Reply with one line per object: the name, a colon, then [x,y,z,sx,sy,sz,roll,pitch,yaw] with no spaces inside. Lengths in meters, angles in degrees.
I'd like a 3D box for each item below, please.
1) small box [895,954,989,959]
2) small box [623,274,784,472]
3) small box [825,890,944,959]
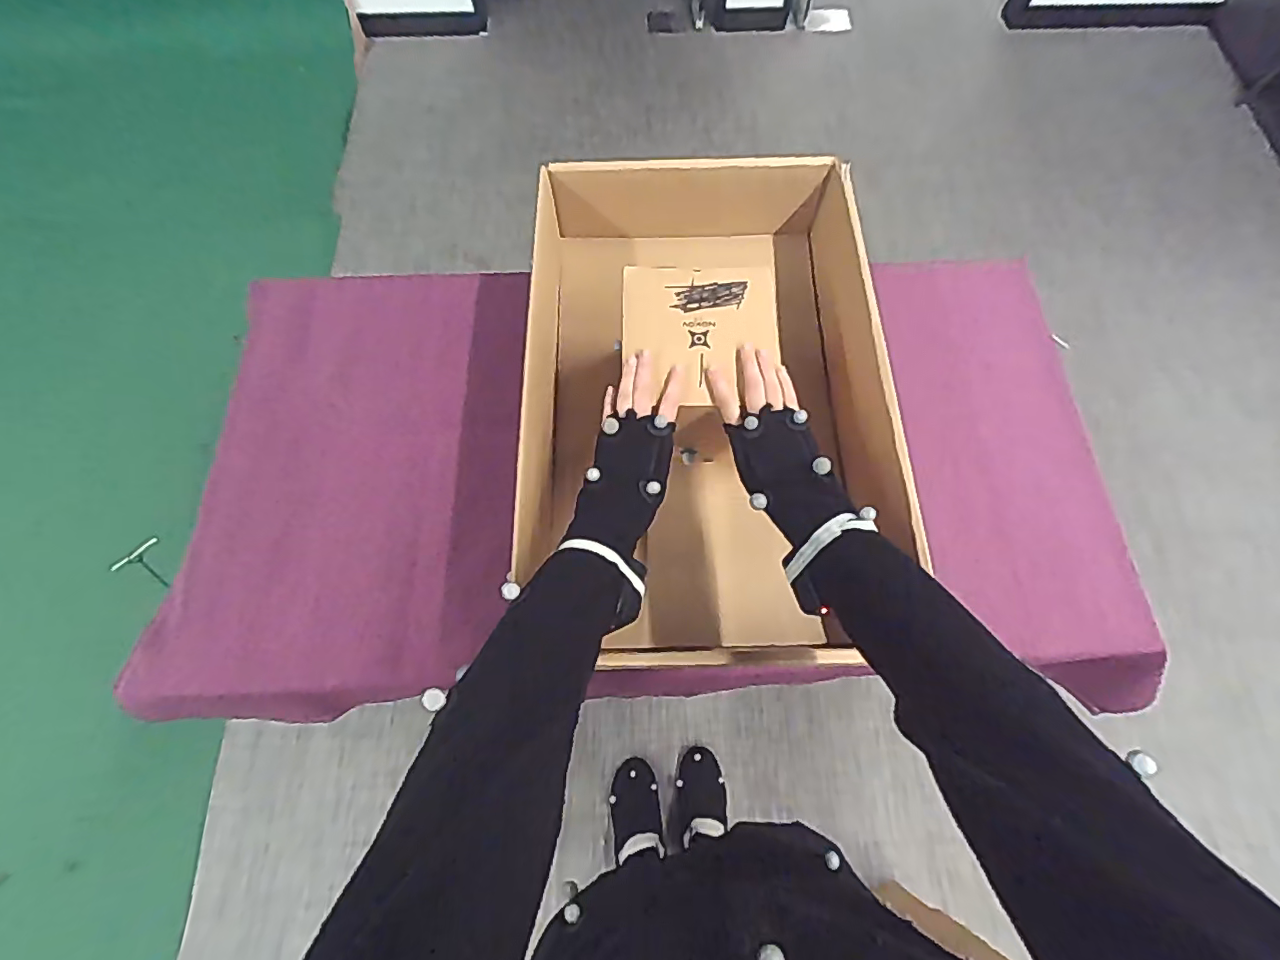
small box: [0.489,0.817,0.775,0.168,0.176,0.179,-1,68,0]
small box: [0.064,-0.120,0.647,0.168,0.176,0.179,0,71,0]
small box: [0.486,0.950,1.077,0.179,0.176,0.168,-7,69,-4]
